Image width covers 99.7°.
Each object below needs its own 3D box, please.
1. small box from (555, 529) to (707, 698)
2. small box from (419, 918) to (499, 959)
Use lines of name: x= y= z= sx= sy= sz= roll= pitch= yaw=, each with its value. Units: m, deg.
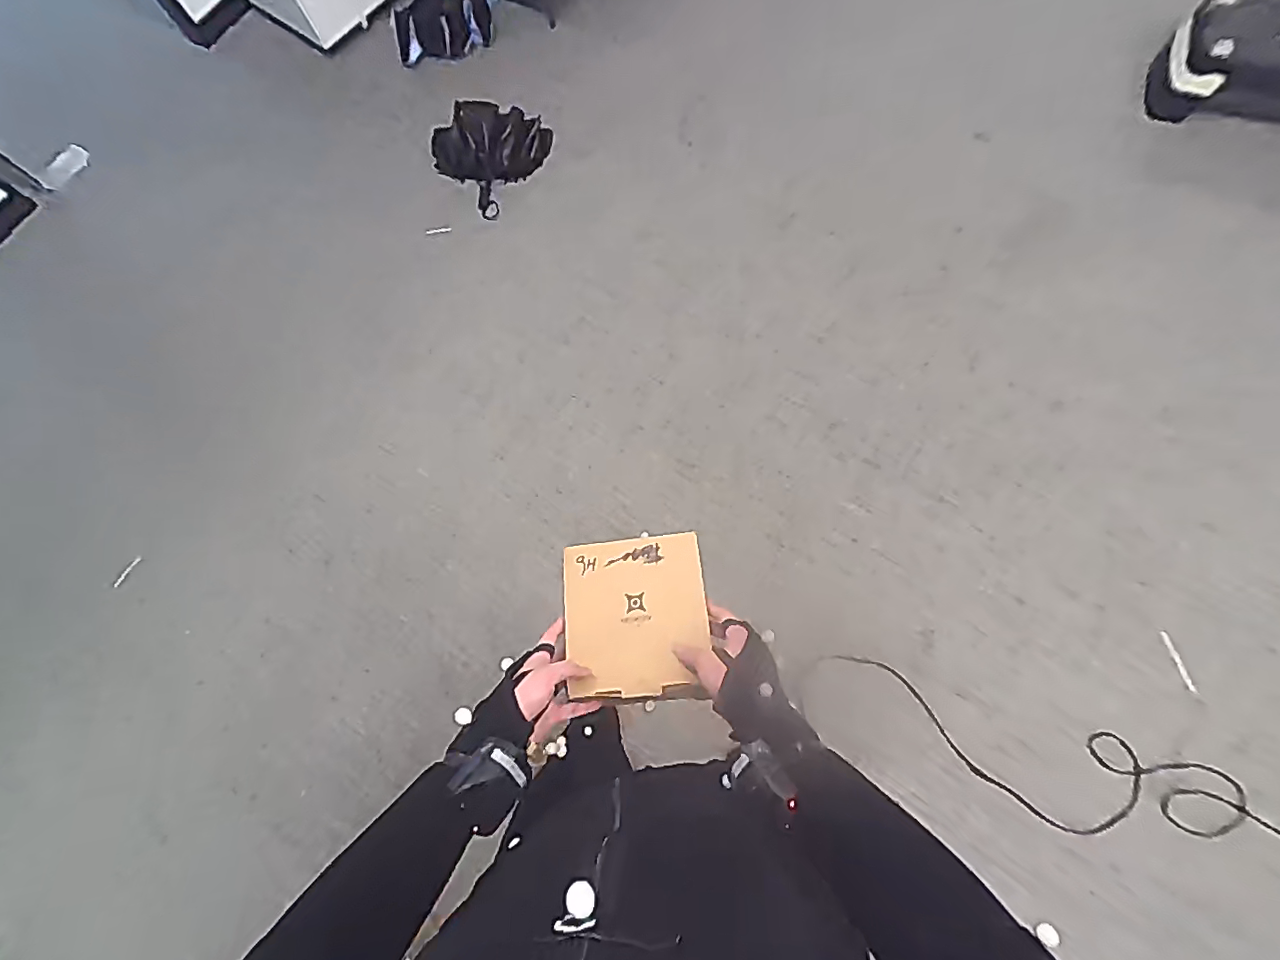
small box: x=-0.006 y=0.179 z=0.690 sx=0.168 sy=0.176 sz=0.179 roll=-7 pitch=64 yaw=5
small box: x=-0.418 y=1.096 z=1.143 sx=0.168 sy=0.176 sz=0.179 roll=36 pitch=79 yaw=16
